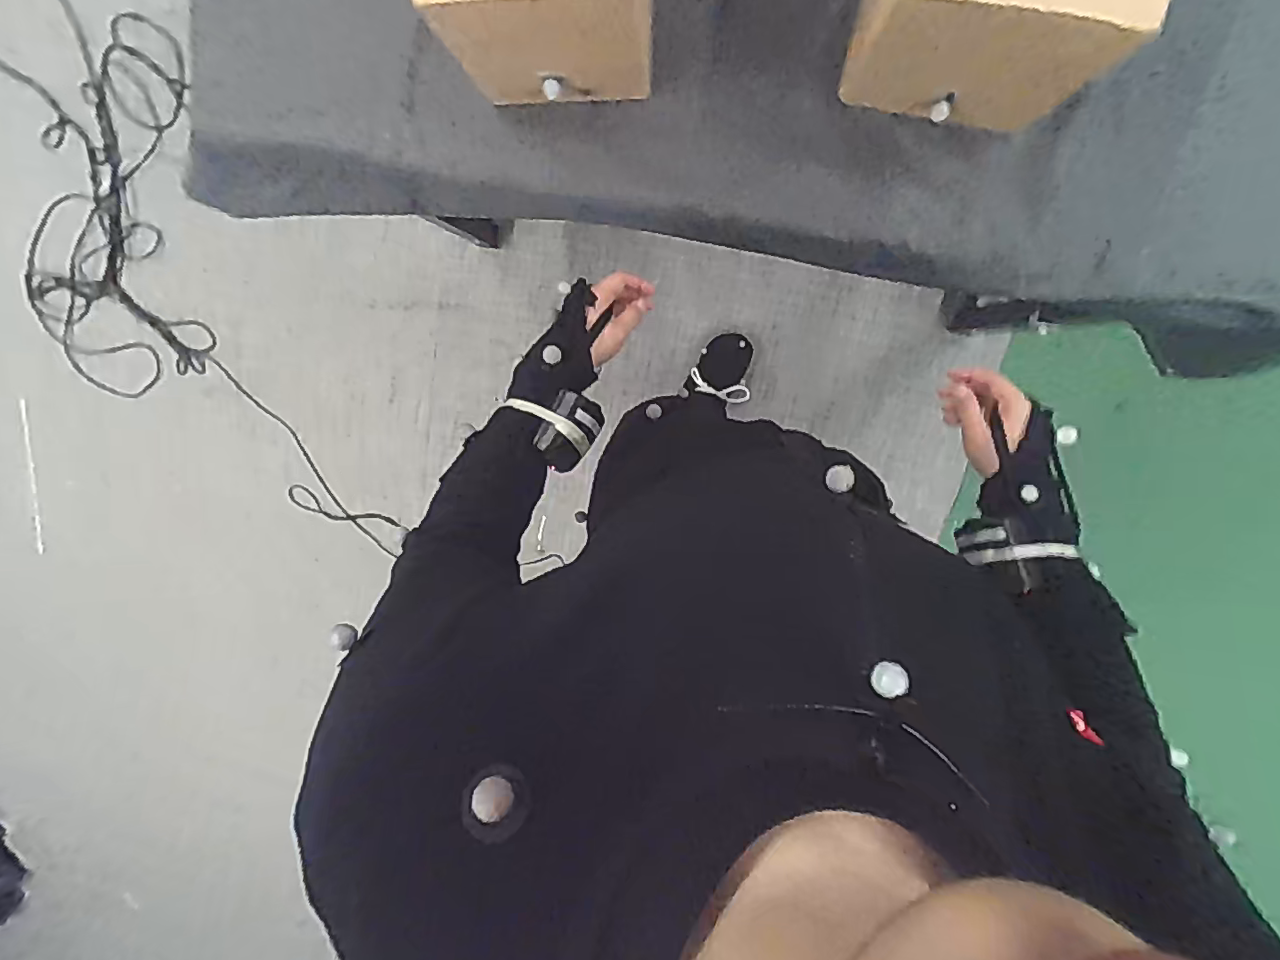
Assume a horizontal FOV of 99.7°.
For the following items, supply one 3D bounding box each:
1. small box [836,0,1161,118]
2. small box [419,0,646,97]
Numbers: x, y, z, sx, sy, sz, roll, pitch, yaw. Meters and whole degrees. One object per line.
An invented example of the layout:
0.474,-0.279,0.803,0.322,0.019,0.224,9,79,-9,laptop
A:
0.277,-0.412,0.419,0.179,0.176,0.168,12,104,3,small box
-0.084,-0.453,0.447,0.168,0.176,0.179,2,104,6,small box
